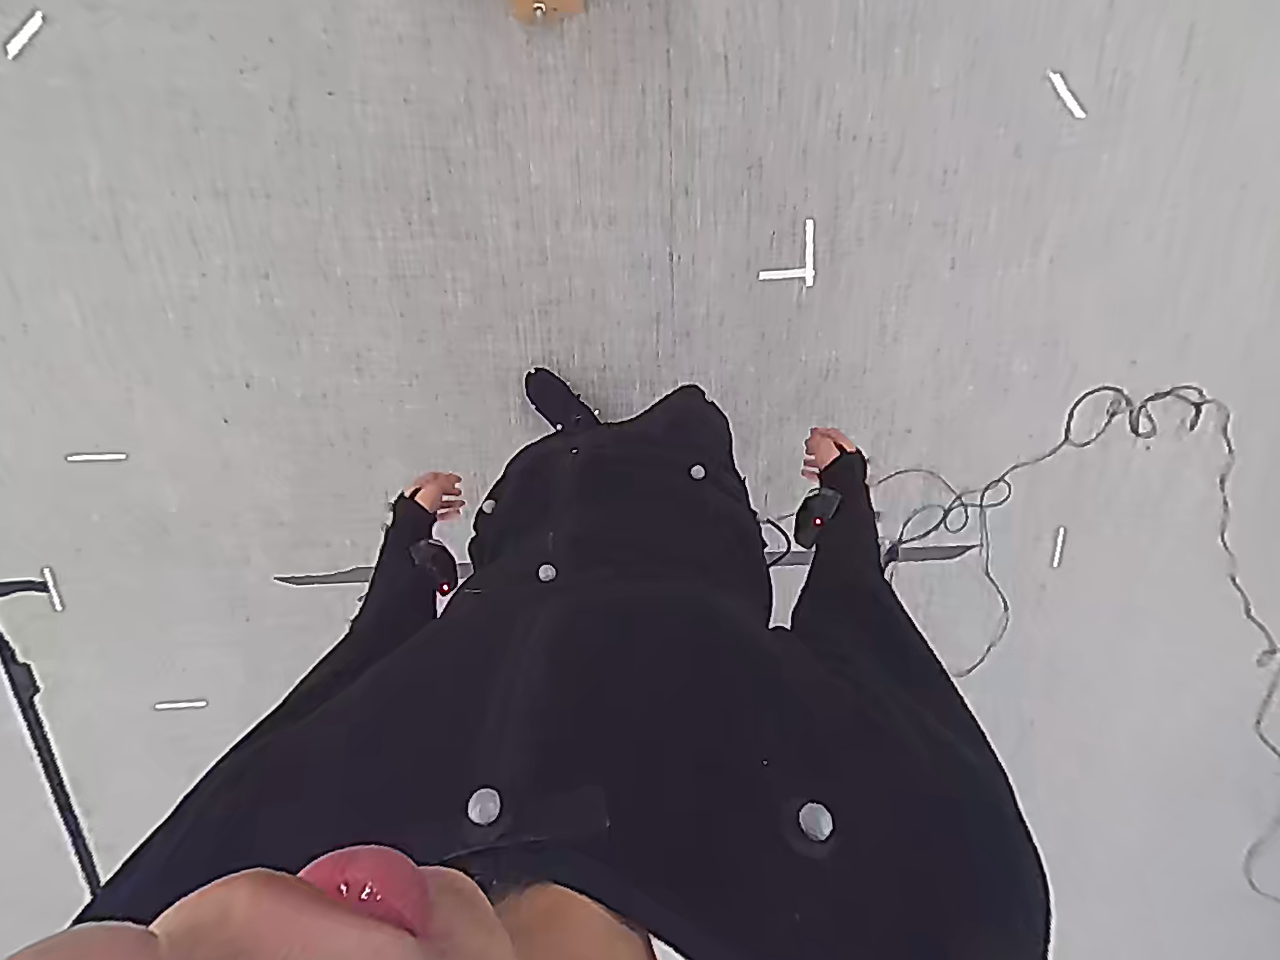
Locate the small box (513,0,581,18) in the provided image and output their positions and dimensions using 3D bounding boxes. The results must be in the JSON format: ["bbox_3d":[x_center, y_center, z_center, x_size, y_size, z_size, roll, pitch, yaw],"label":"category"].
[{"bbox_3d":[-0.227,-1.205,1.230,0.168,0.176,0.179,-6,105,-2],"label":"small box"}]
